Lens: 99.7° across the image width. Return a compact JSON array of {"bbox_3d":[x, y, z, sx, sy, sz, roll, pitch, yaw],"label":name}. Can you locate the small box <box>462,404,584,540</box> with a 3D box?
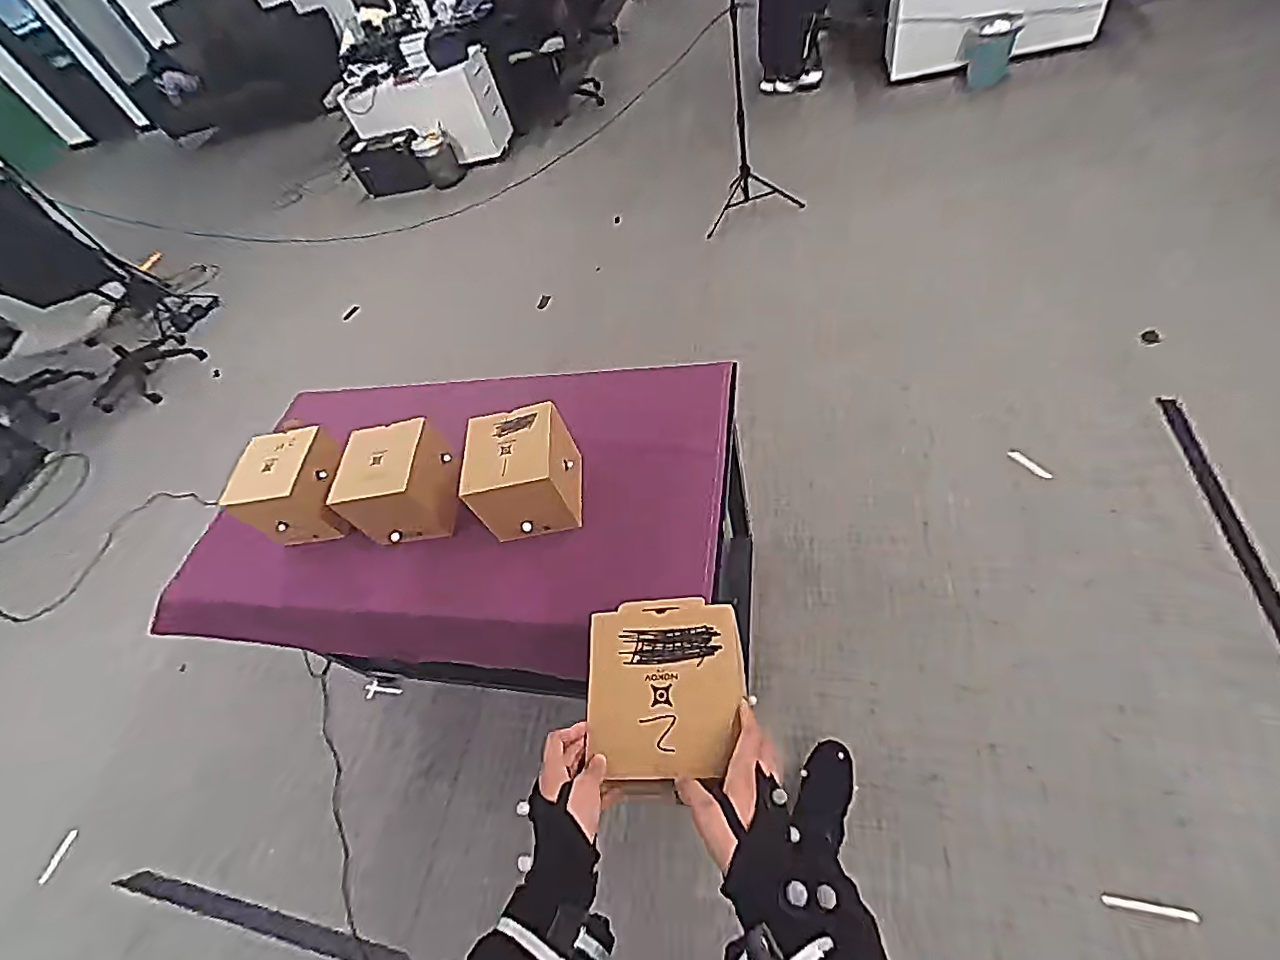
[{"bbox_3d":[-0.208,-0.011,1.011,0.168,0.176,0.179,-11,54,9],"label":"small box"}]

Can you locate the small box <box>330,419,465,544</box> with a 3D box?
[{"bbox_3d":[-0.466,0.007,1.077,0.168,0.176,0.179,-8,53,11],"label":"small box"}]

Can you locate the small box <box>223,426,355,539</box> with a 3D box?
[{"bbox_3d":[-0.711,0.014,1.142,0.168,0.176,0.179,-7,53,11],"label":"small box"}]
